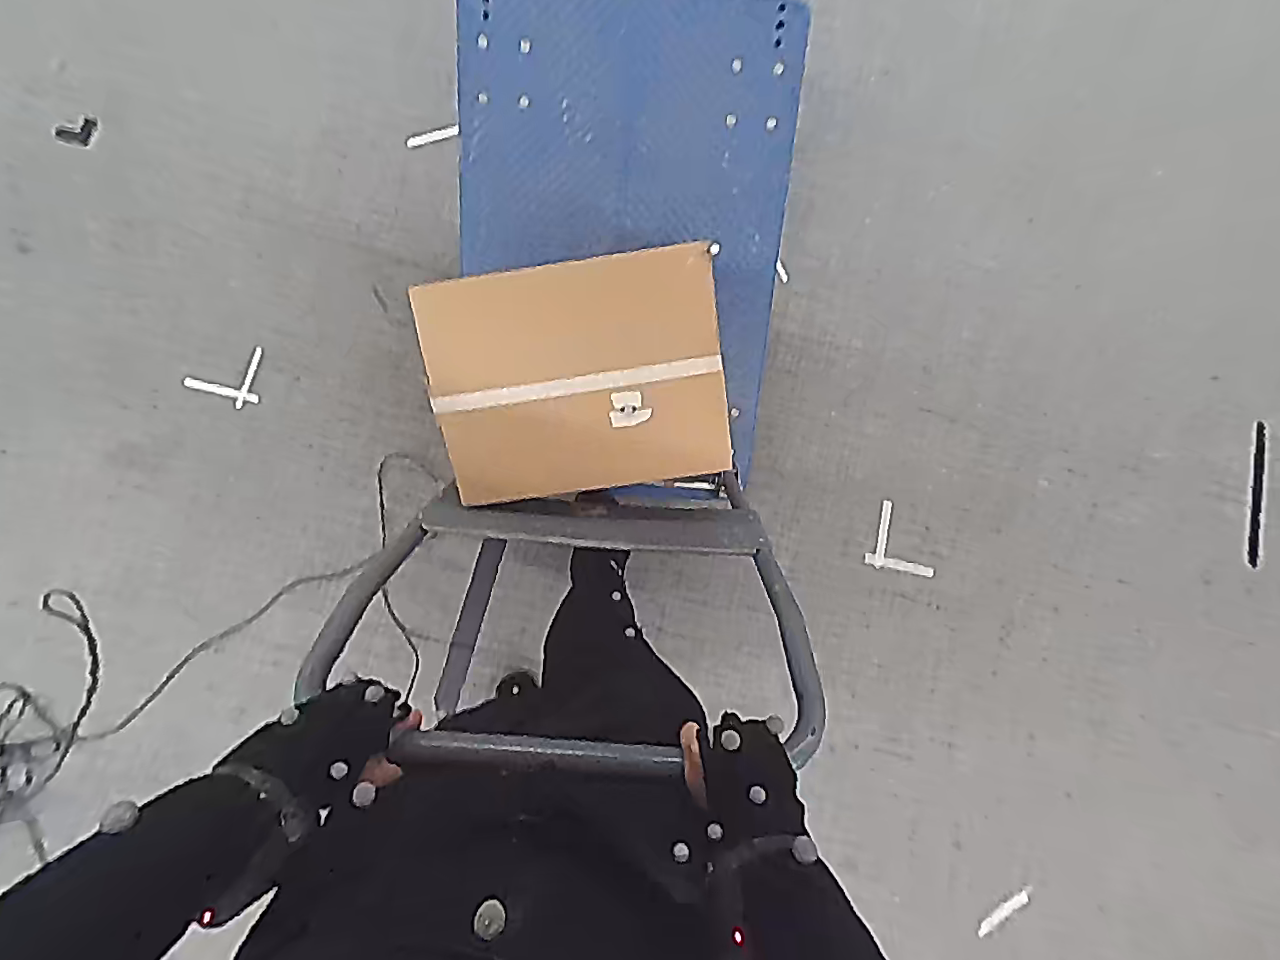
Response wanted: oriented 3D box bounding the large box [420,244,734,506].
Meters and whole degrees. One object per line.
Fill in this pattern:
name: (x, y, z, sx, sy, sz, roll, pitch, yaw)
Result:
large box: (-0.083, -0.175, 0.902, 0.408, 0.320, 0.320, -8, 107, 1)
